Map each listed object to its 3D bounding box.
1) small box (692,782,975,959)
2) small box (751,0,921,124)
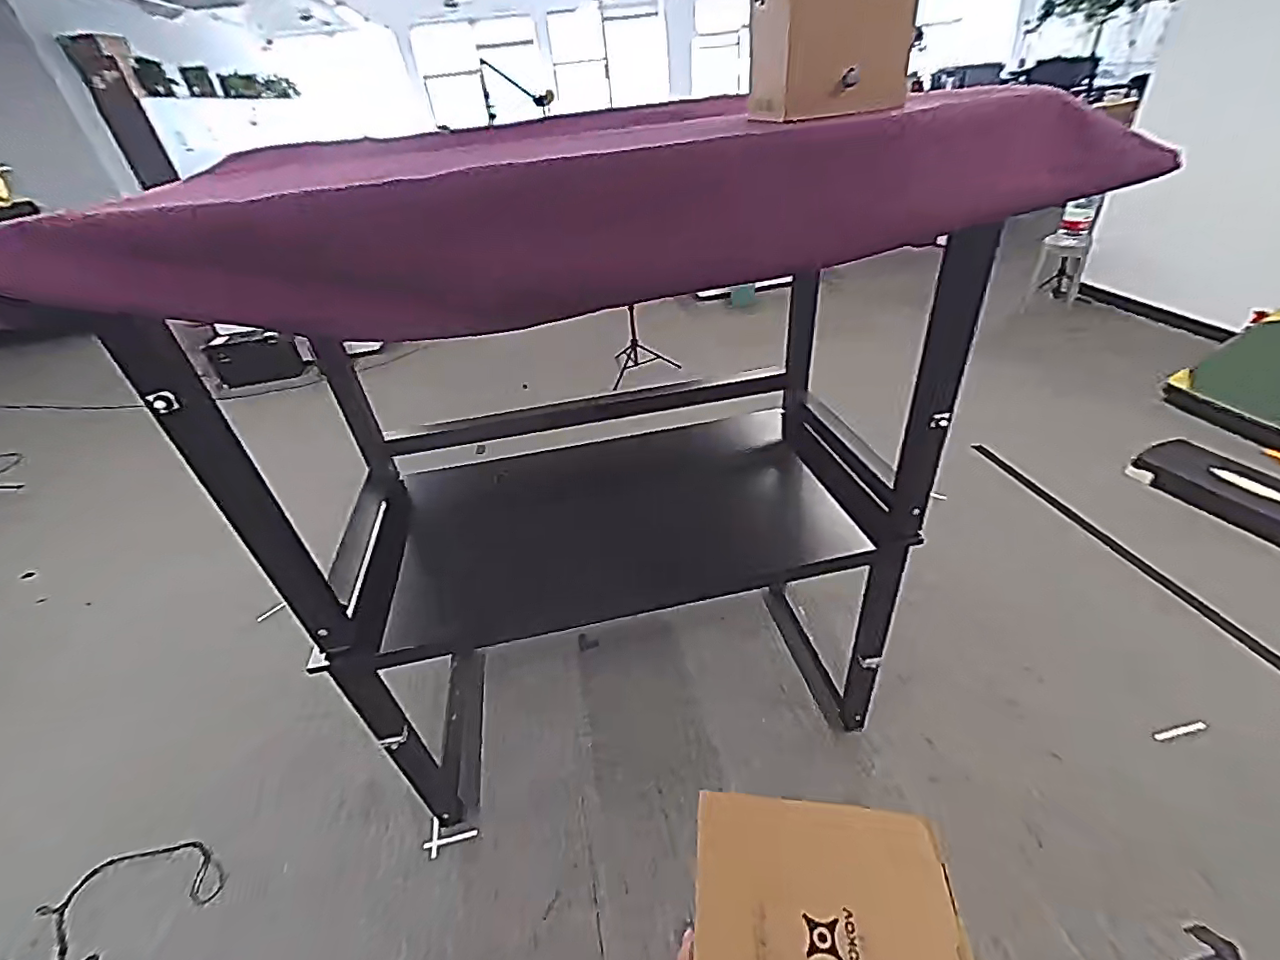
[{"bbox_3d":[0.127,0.353,0.398,0.179,0.176,0.168,2,38,8],"label":"small box"},{"bbox_3d":[0.263,-0.609,0.753,0.179,0.176,0.168,-9,35,-4],"label":"small box"}]
